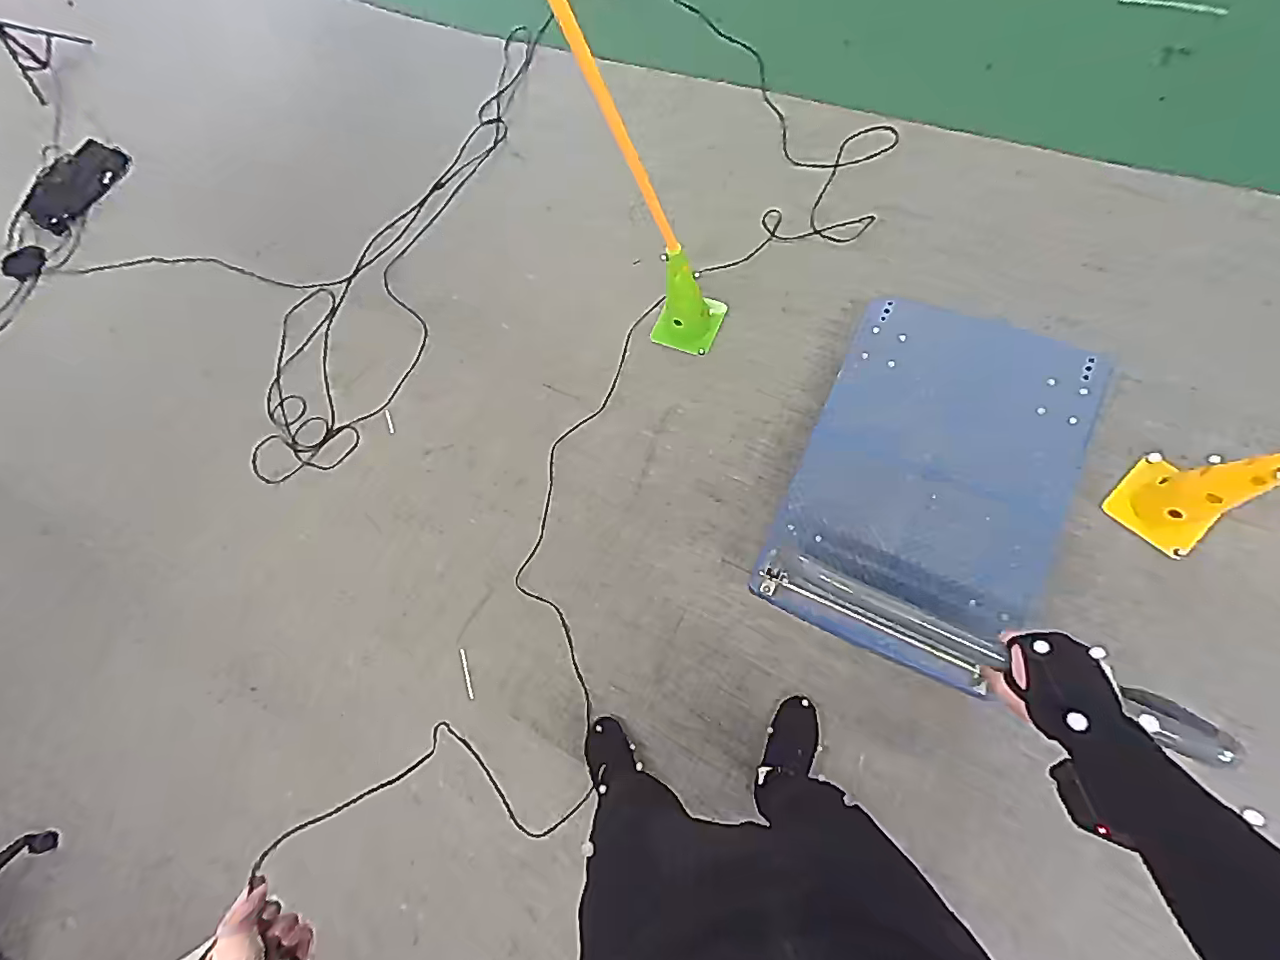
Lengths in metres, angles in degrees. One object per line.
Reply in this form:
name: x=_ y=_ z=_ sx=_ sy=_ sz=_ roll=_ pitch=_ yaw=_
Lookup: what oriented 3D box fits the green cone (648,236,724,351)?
green cone: x=0.109 y=-0.564 z=1.560 sx=0.202 sy=0.368 sz=0.200 roll=21 pitch=79 yaw=18
